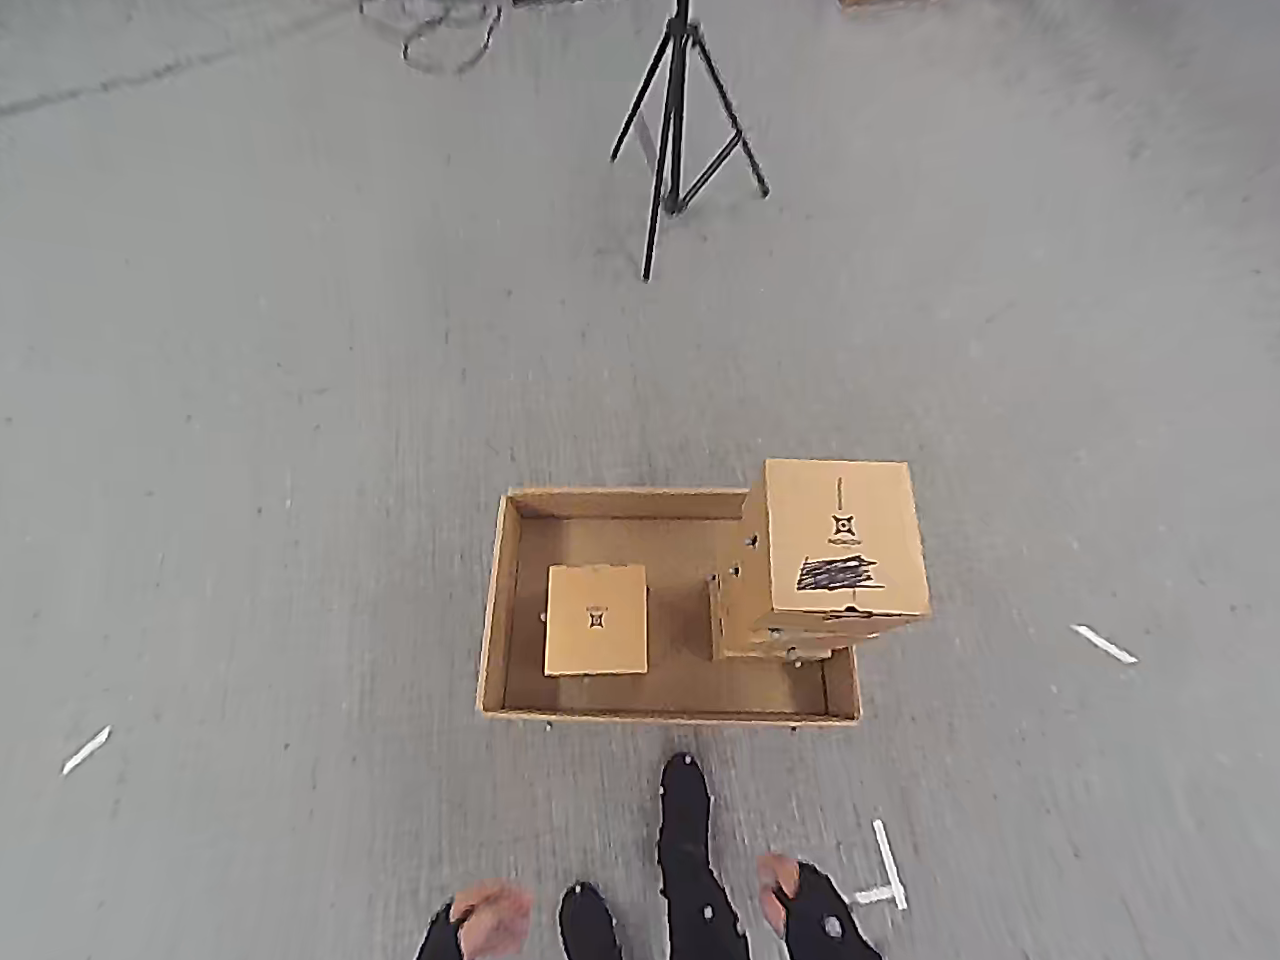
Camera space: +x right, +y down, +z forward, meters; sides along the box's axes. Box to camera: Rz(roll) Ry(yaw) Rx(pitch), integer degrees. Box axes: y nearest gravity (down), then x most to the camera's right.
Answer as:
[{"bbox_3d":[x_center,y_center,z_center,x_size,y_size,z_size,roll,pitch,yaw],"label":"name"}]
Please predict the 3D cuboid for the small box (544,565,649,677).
[{"bbox_3d":[-0.068,0.255,0.955,0.168,0.176,0.179,-1,67,1],"label":"small box"}]

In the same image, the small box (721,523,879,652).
[{"bbox_3d":[0.224,0.163,0.805,0.179,0.176,0.168,-1,68,0],"label":"small box"}]

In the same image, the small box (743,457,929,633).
[{"bbox_3d":[0.221,0.087,0.658,0.168,0.176,0.179,2,67,2],"label":"small box"}]
